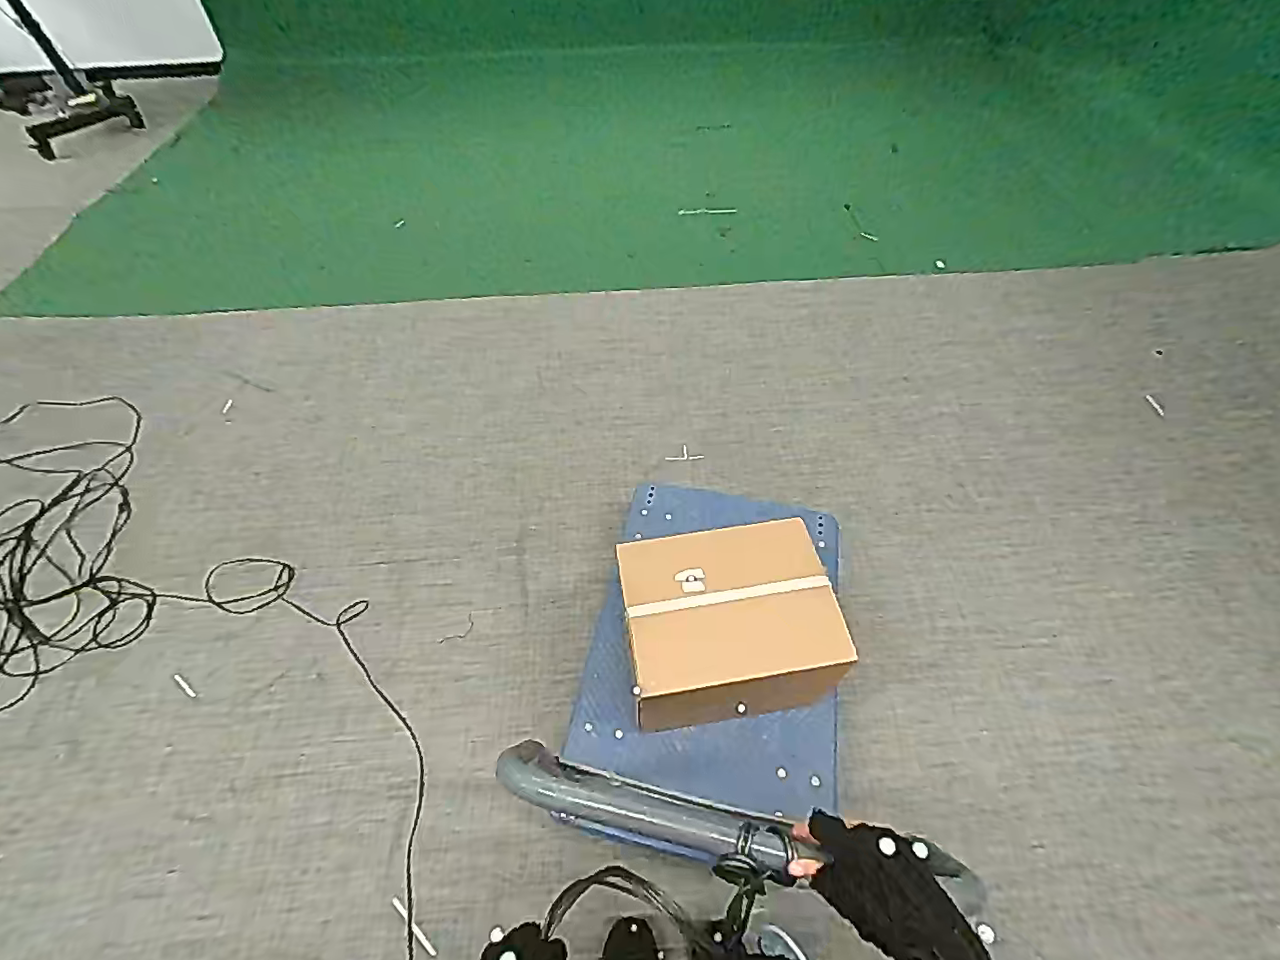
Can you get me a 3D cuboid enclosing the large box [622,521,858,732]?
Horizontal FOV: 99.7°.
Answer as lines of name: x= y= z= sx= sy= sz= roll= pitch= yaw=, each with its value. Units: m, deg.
large box: x=0.187 y=0.326 z=1.181 sx=0.408 sy=0.320 sz=0.320 roll=-9 pitch=53 yaw=-5
